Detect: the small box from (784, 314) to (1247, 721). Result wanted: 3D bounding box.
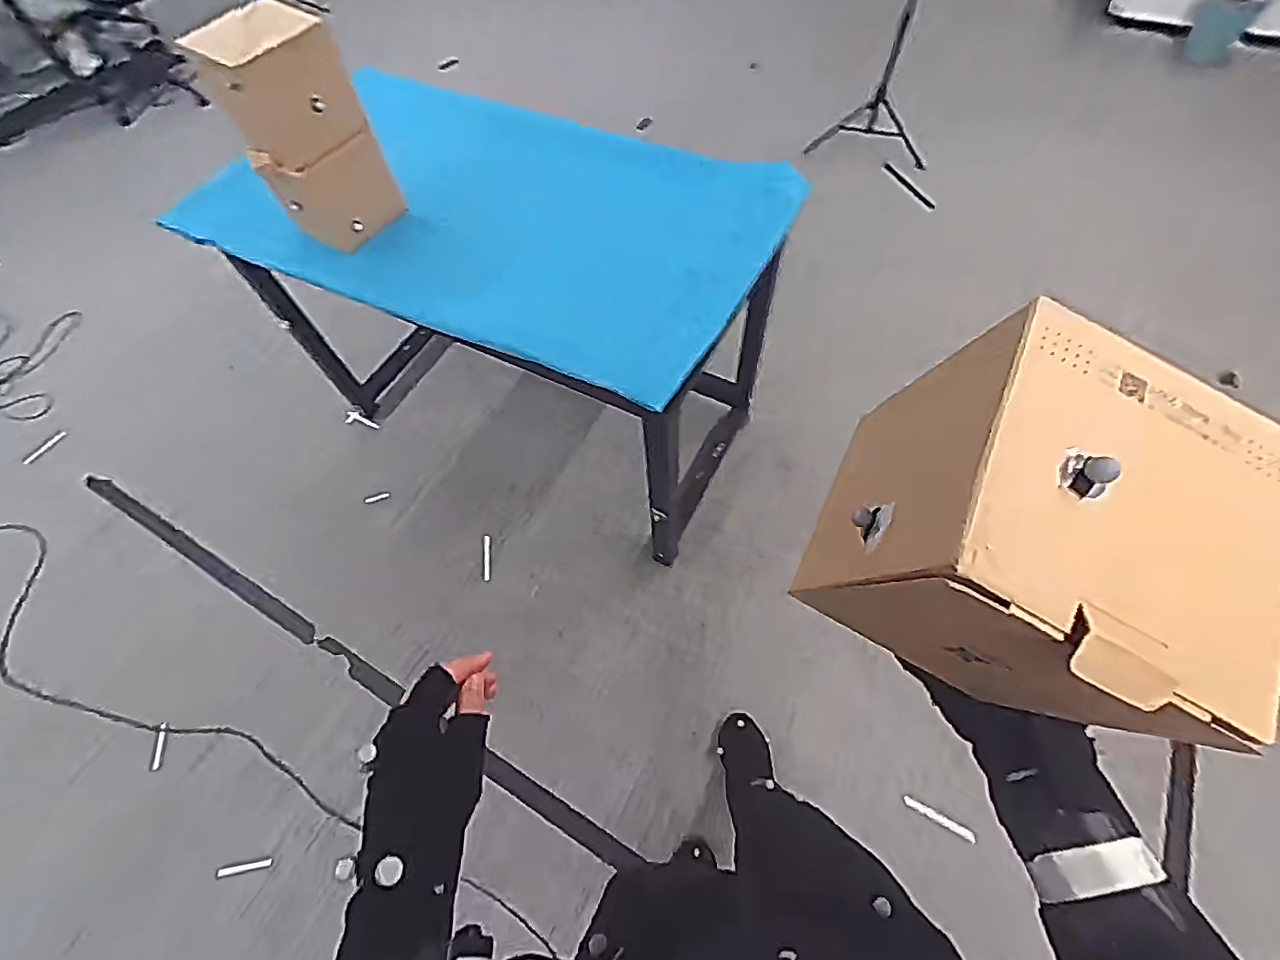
[{"bbox_3d":[0.227,0.027,0.353,0.168,0.179,0.176,29,72,-1],"label":"small box"}]

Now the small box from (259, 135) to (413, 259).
[{"bbox_3d":[-0.607,-0.590,1.089,0.168,0.176,0.179,29,67,17],"label":"small box"}]

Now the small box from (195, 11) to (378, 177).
[{"bbox_3d":[-0.616,-0.681,0.952,0.168,0.176,0.179,33,69,19],"label":"small box"}]
